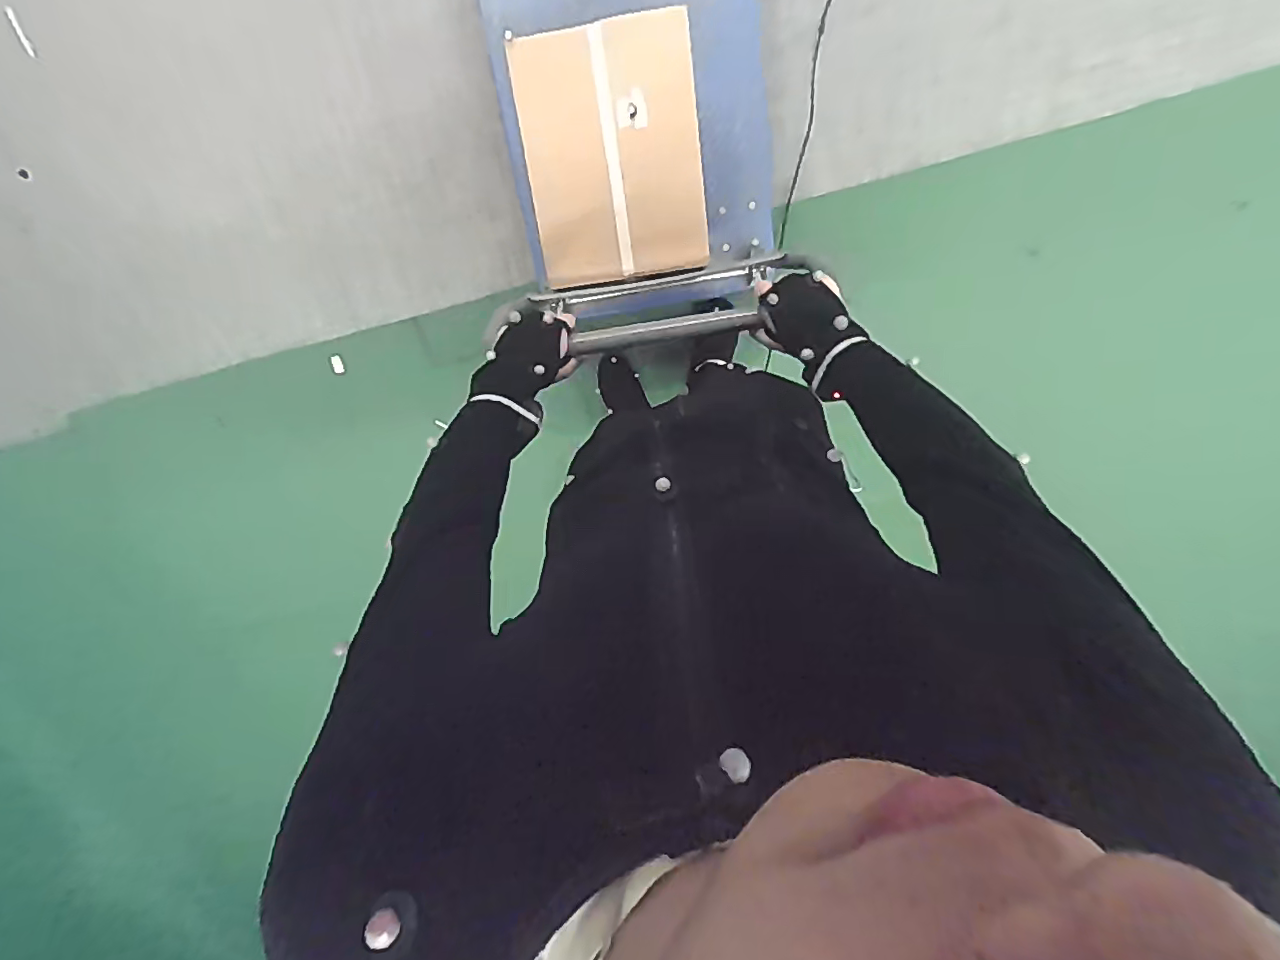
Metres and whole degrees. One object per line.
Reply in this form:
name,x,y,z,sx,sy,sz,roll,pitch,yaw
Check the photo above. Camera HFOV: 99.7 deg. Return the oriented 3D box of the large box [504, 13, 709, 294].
large box,-0.044,-0.618,1.112,0.320,0.320,0.408,-8,108,4
